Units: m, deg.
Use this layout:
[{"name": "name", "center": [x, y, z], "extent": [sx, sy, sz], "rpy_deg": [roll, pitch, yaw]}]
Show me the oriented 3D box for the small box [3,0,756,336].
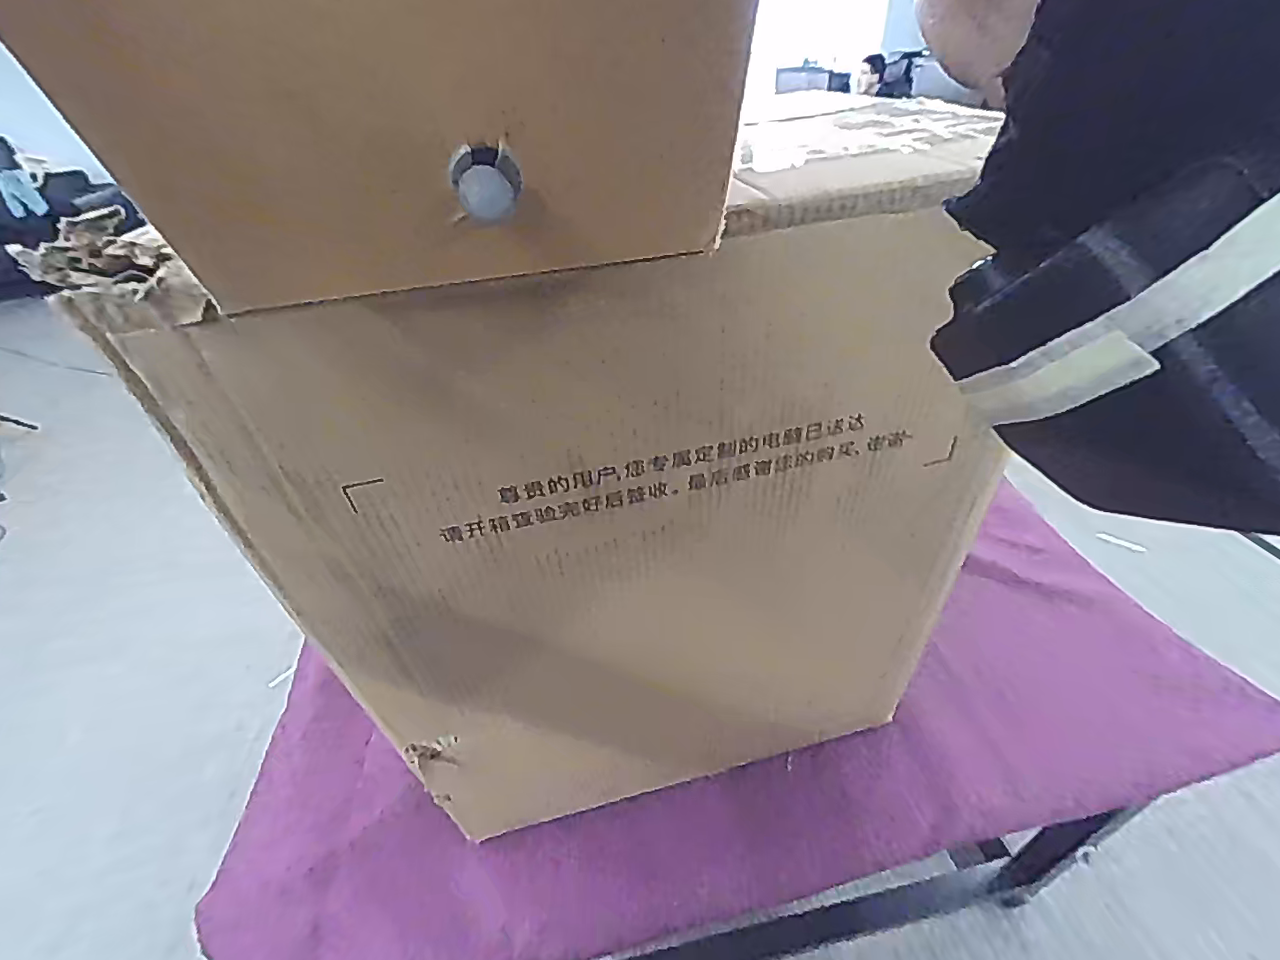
[{"name": "small box", "center": [-0.070, -0.174, 0.170], "extent": [0.179, 0.176, 0.168], "rpy_deg": [-11, 60, -7]}]
